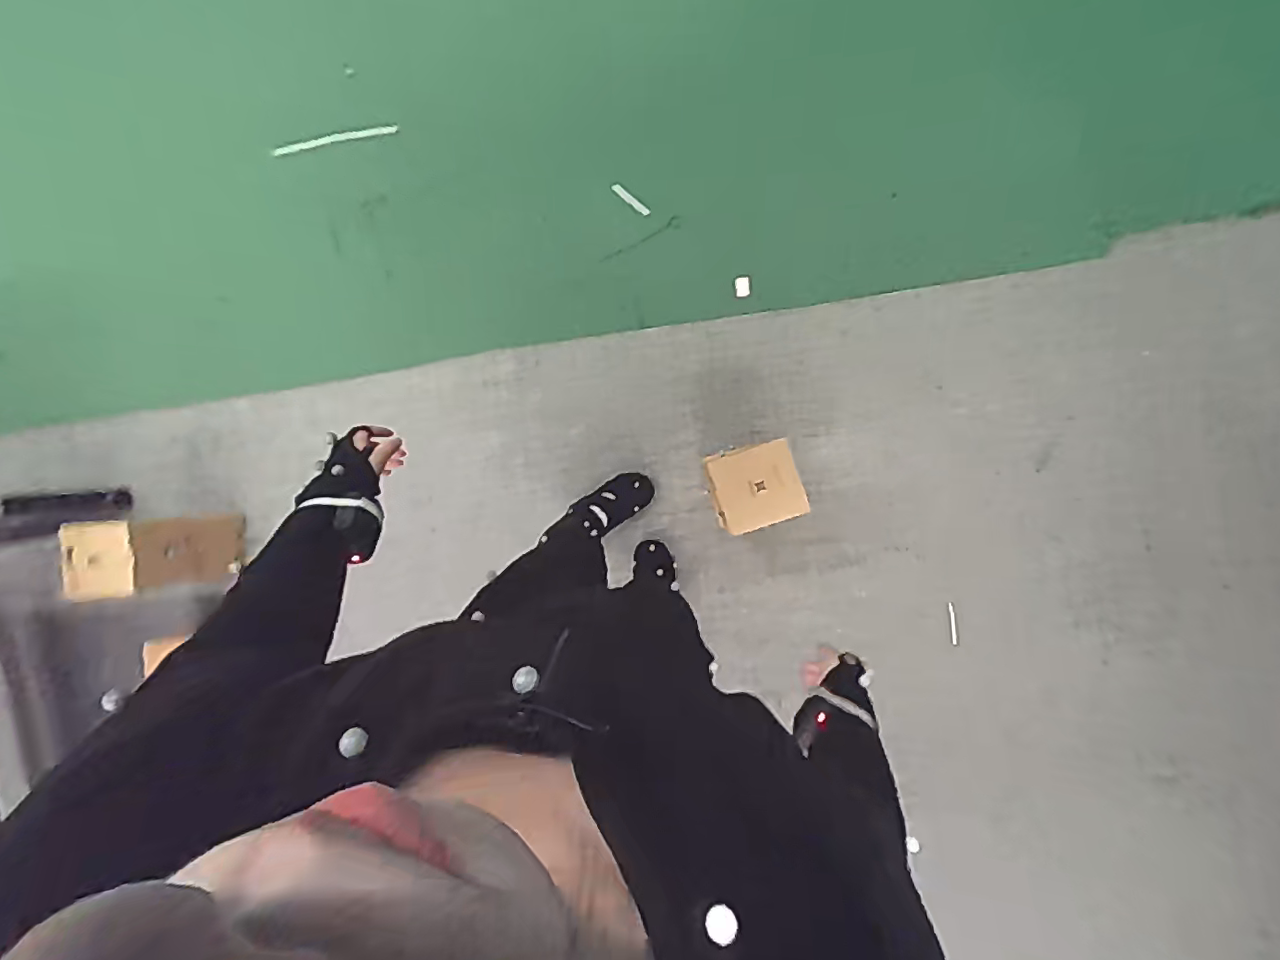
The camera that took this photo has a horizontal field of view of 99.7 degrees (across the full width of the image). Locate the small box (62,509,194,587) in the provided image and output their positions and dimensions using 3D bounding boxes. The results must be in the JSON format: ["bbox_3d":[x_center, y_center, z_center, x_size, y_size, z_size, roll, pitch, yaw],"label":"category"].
[{"bbox_3d":[-1.238,0.161,1.324,0.179,0.176,0.168,-3,92,3],"label":"small box"}]

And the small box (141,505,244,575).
[{"bbox_3d":[-1.232,0.160,1.490,0.179,0.176,0.168,2,92,5],"label":"small box"}]

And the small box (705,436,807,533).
[{"bbox_3d":[0.247,0.009,1.197,0.179,0.176,0.168,-17,91,4],"label":"small box"}]
